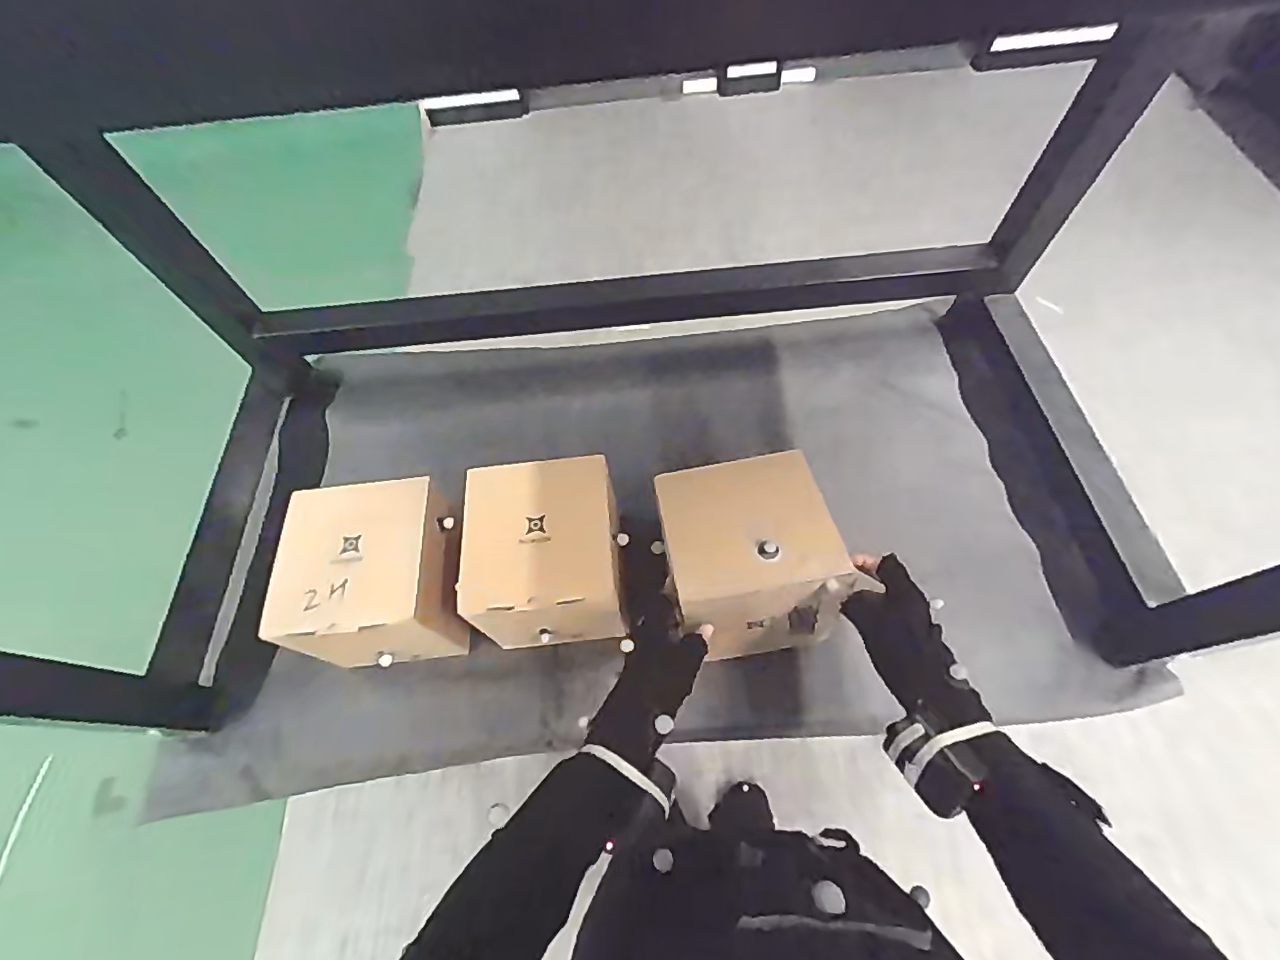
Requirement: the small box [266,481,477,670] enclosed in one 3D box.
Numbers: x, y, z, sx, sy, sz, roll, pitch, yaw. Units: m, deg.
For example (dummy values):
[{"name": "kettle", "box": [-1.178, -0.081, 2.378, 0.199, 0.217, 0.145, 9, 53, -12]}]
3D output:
[{"name": "small box", "box": [-0.310, 0.123, 0.670, 0.168, 0.176, 0.179, -7, 60, 1]}]
